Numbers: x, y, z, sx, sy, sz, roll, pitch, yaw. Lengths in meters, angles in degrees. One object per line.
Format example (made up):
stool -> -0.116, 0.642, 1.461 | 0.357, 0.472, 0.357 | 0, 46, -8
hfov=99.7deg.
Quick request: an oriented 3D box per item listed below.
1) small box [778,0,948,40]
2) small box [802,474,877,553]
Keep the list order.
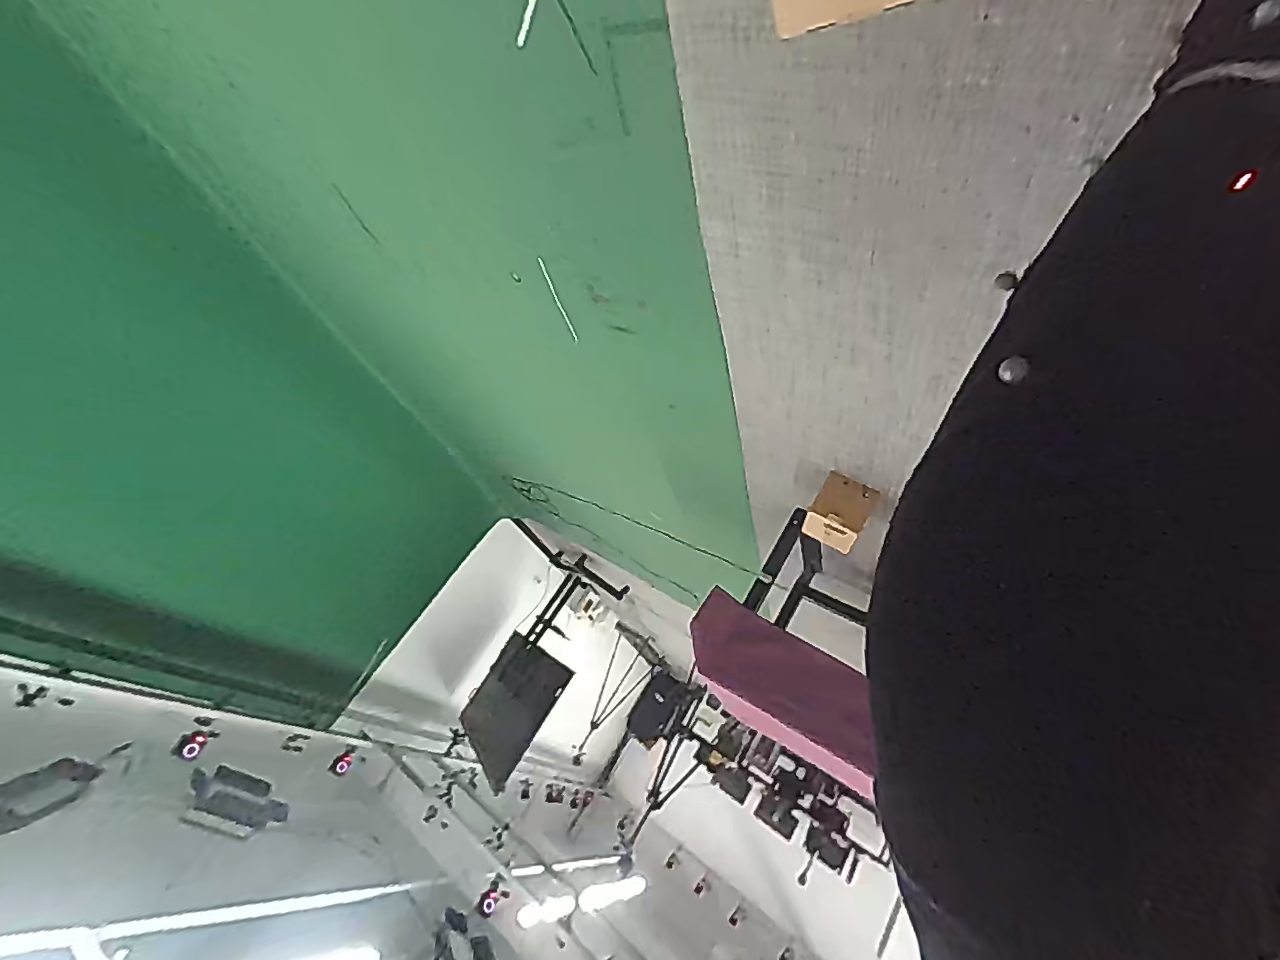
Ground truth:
small box -> 0.228, -0.556, 0.491 | 0.168, 0.176, 0.179 | 19, 154, 37
small box -> 0.658, 0.107, 1.784 | 0.168, 0.176, 0.179 | 29, 160, 21
